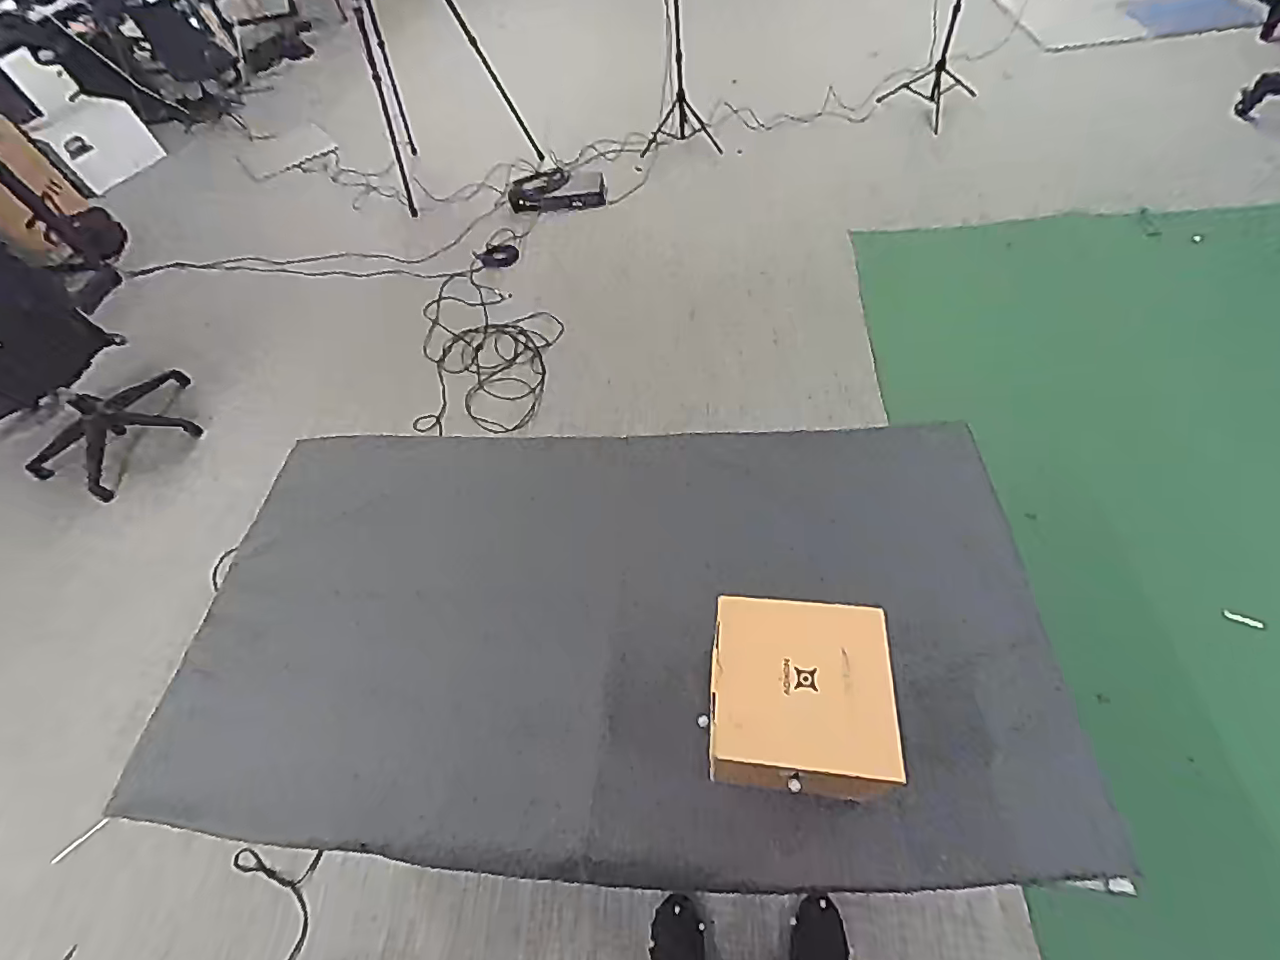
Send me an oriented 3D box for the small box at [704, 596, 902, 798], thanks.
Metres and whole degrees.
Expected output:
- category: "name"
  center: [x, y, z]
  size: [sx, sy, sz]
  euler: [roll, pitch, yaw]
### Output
- category: "small box"
  center: [0.165, 0.242, 0.595]
  size: [0.179, 0.176, 0.168]
  euler: [2, 56, 9]
